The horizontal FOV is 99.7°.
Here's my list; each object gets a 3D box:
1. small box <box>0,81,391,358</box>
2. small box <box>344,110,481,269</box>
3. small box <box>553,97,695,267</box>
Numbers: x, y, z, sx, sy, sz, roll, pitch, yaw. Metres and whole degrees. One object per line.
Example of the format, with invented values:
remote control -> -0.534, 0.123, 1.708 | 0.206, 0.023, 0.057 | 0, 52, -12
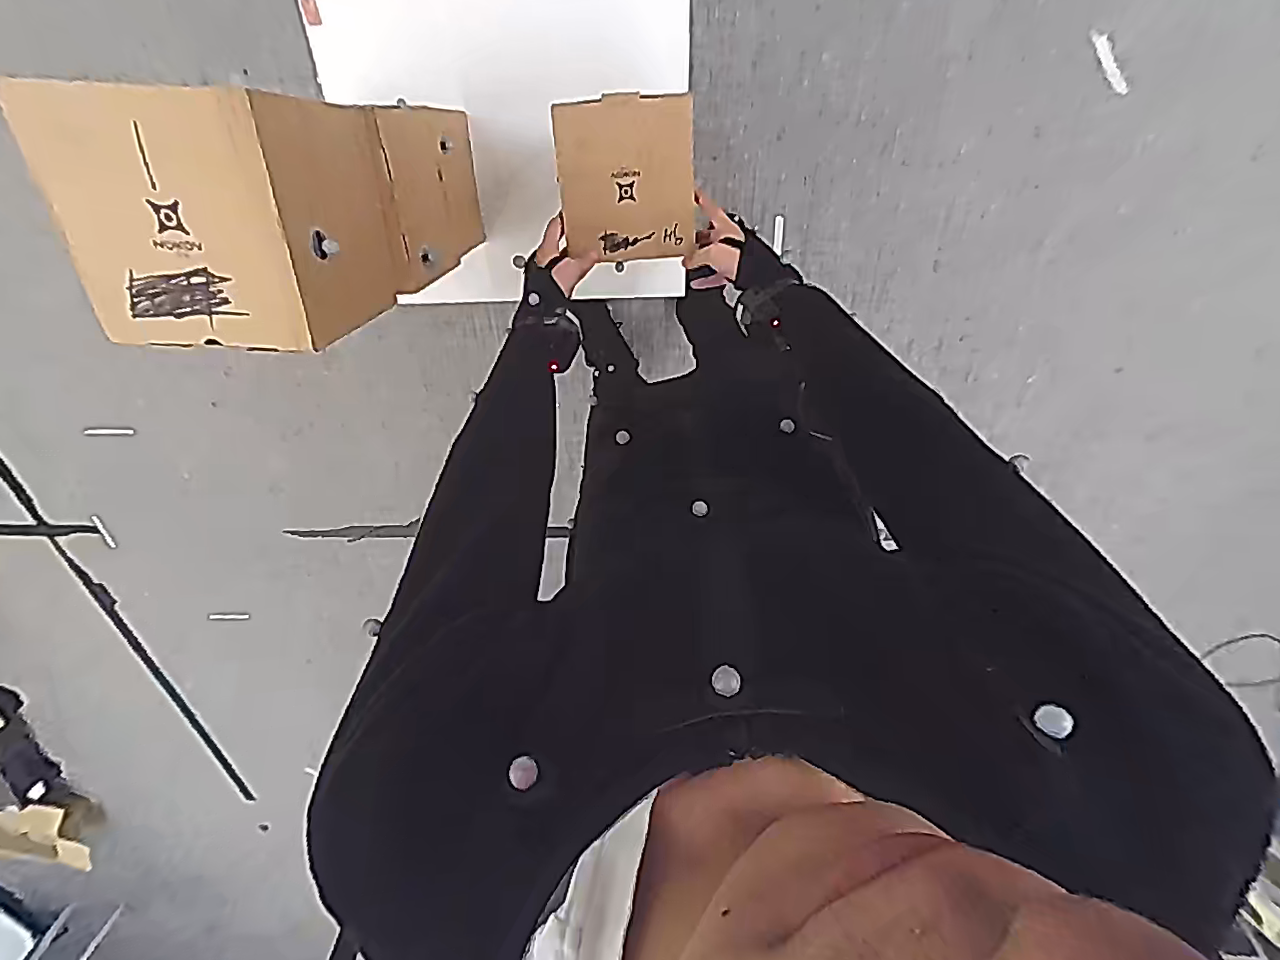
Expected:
small box -> -0.334, -0.217, 0.457 | 0.168, 0.176, 0.179 | 2, 121, -1
small box -> -0.326, -0.394, 0.735 | 0.168, 0.176, 0.179 | -1, 121, 0
small box -> -0.014, -0.388, 0.726 | 0.168, 0.176, 0.179 | -2, 116, 3
